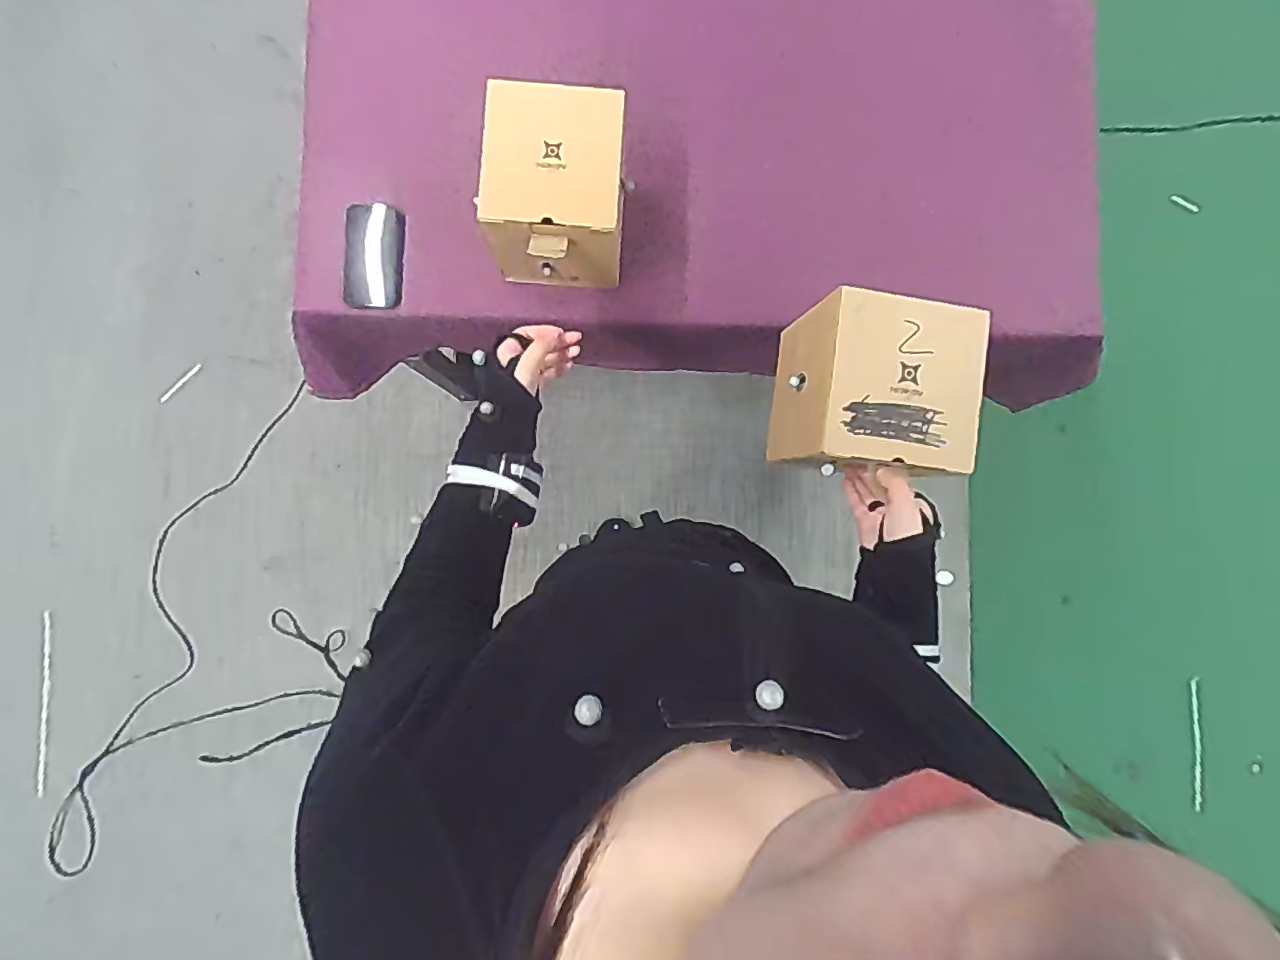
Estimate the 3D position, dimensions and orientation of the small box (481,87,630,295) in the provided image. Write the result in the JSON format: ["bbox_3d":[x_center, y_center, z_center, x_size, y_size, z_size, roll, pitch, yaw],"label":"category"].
[{"bbox_3d":[-0.105,-0.371,0.722,0.168,0.176,0.179,4,86,-3],"label":"small box"}]
